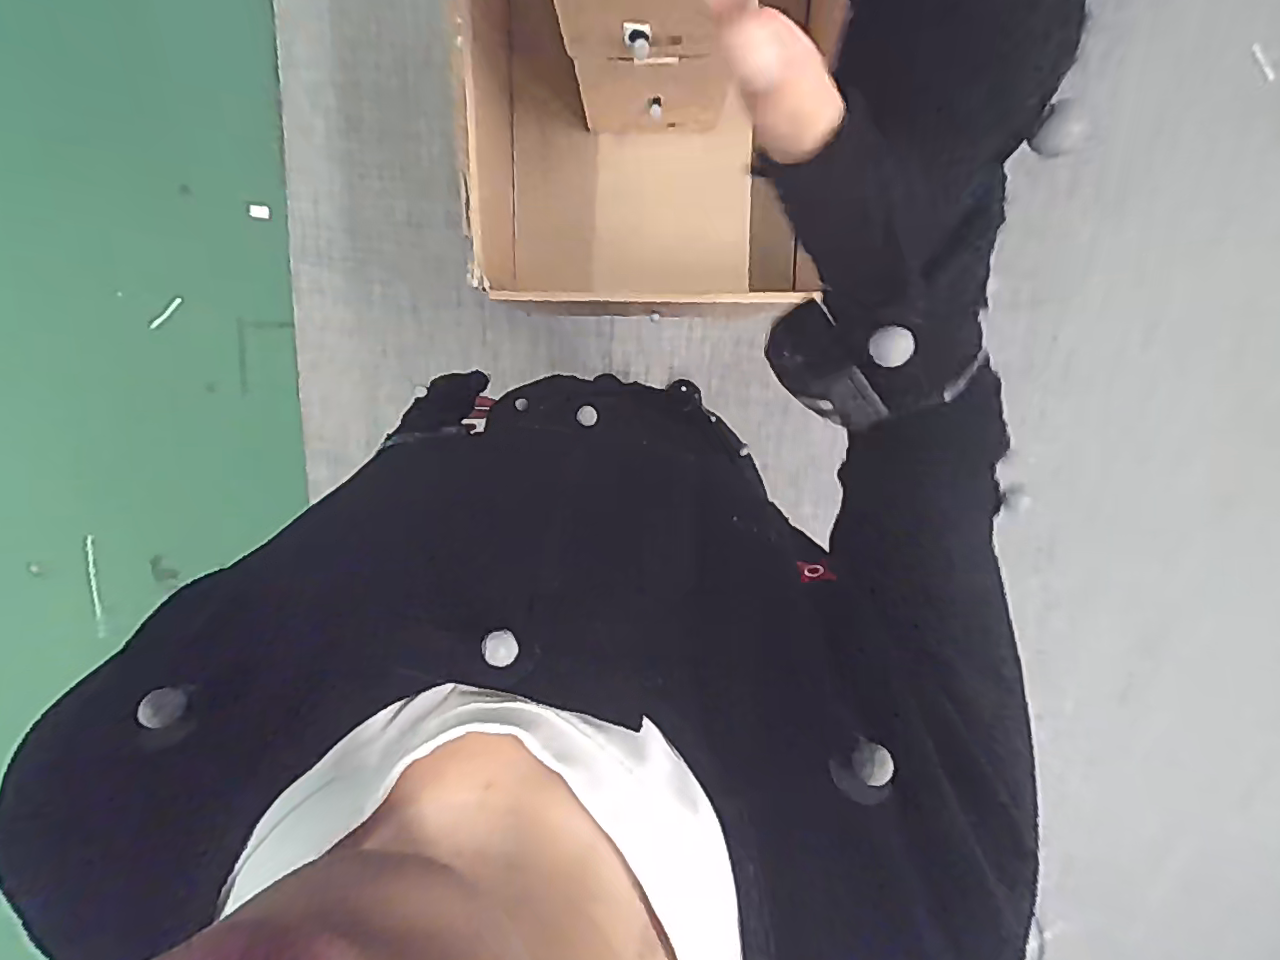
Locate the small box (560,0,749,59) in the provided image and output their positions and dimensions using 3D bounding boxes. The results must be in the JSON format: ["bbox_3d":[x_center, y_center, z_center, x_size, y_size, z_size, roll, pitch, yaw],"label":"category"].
[{"bbox_3d":[0.009,-0.482,0.431,0.168,0.176,0.179,-1,101,2],"label":"small box"}]
